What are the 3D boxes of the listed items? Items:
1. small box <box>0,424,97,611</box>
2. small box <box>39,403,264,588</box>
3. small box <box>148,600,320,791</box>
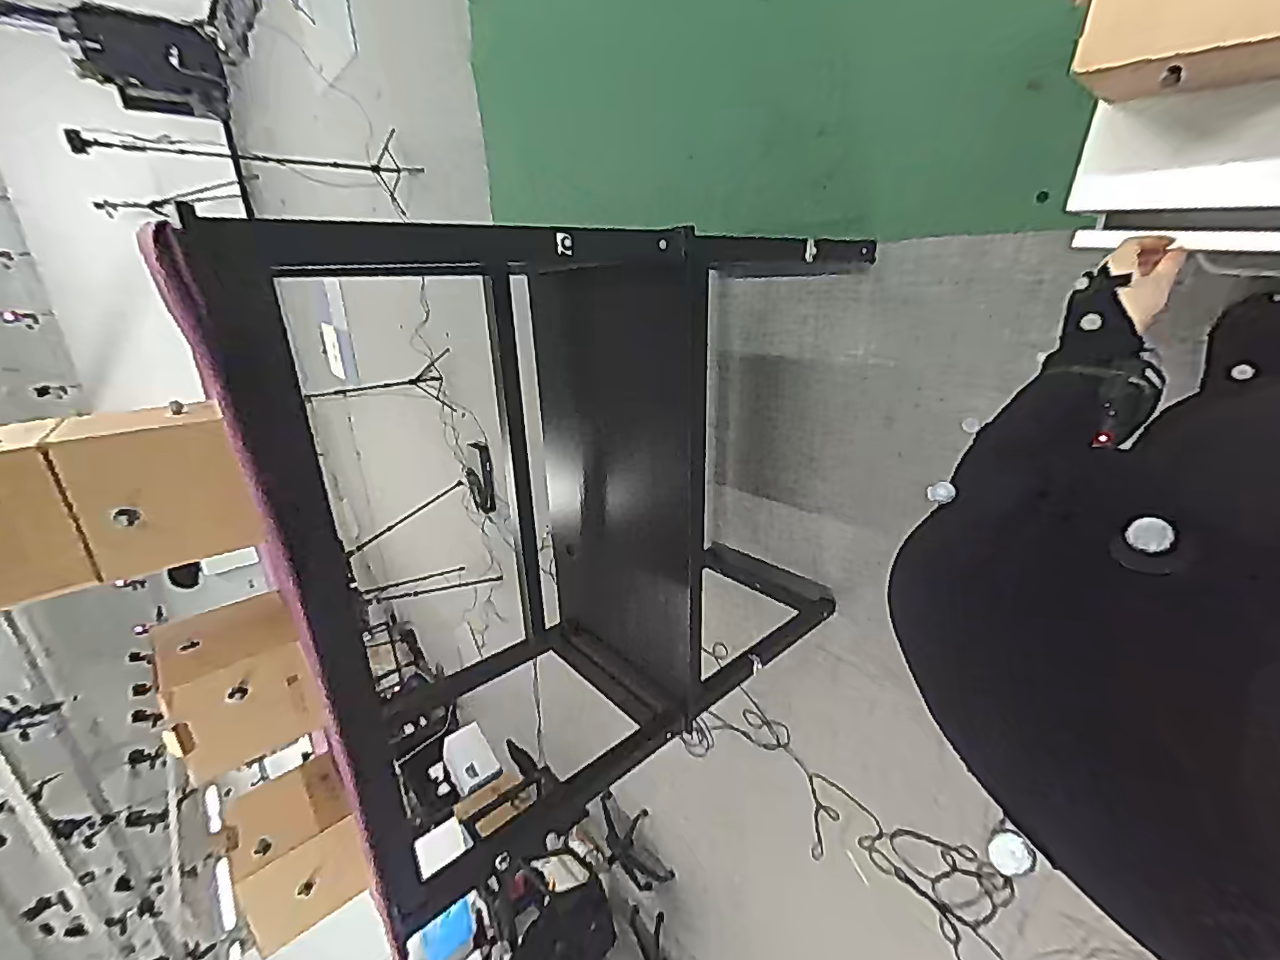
[{"bbox_3d":[-0.743,0.046,0.614,0.168,0.176,0.179,21,120,48],"label":"small box"},{"bbox_3d":[-0.613,0.007,0.704,0.168,0.176,0.179,21,120,48],"label":"small box"},{"bbox_3d":[-0.595,0.303,0.805,0.179,0.176,0.168,22,120,46],"label":"small box"}]
